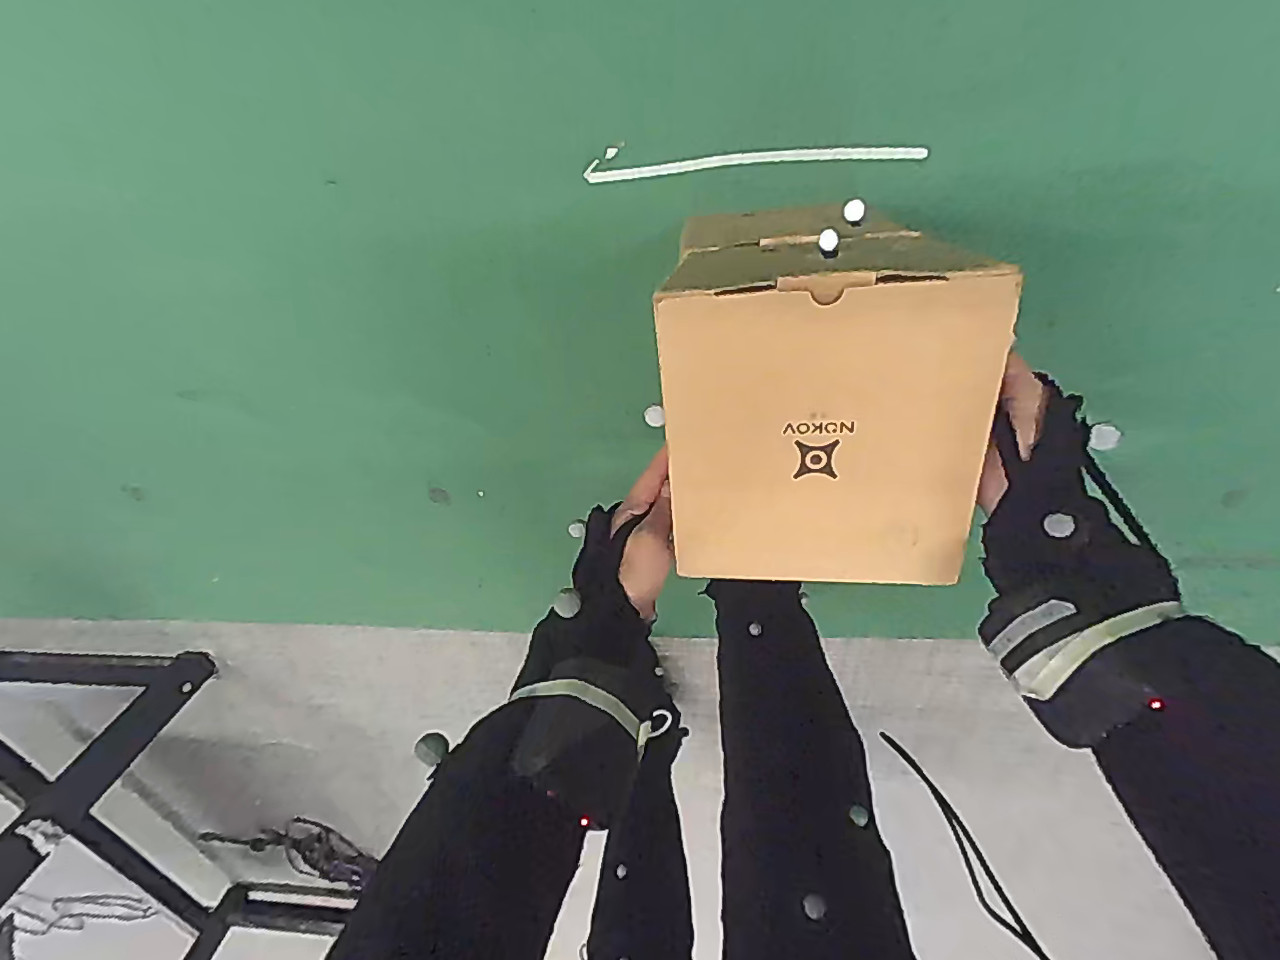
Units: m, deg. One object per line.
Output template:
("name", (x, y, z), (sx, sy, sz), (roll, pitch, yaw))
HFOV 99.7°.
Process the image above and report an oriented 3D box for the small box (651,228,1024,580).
("small box", (0.107, -0.057, 0.353), (0.168, 0.176, 0.179), (0, 118, 12))
